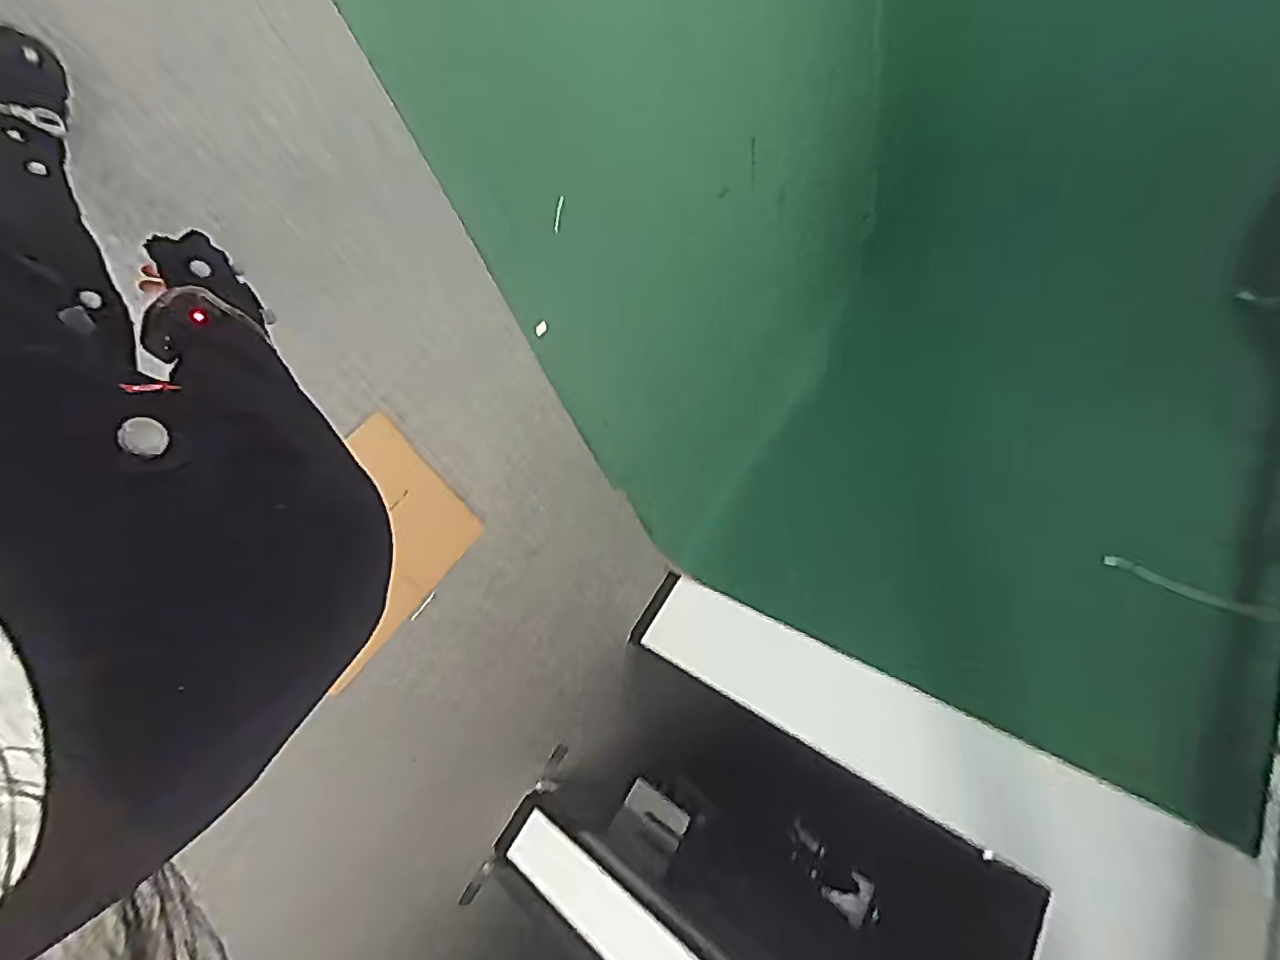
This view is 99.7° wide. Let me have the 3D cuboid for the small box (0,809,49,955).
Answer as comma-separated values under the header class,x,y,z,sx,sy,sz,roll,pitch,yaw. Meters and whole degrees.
class,x,y,z,sx,sy,sz,roll,pitch,yaw
small box,-1.024,0.611,0.788,0.168,0.176,0.179,-29,127,-46
